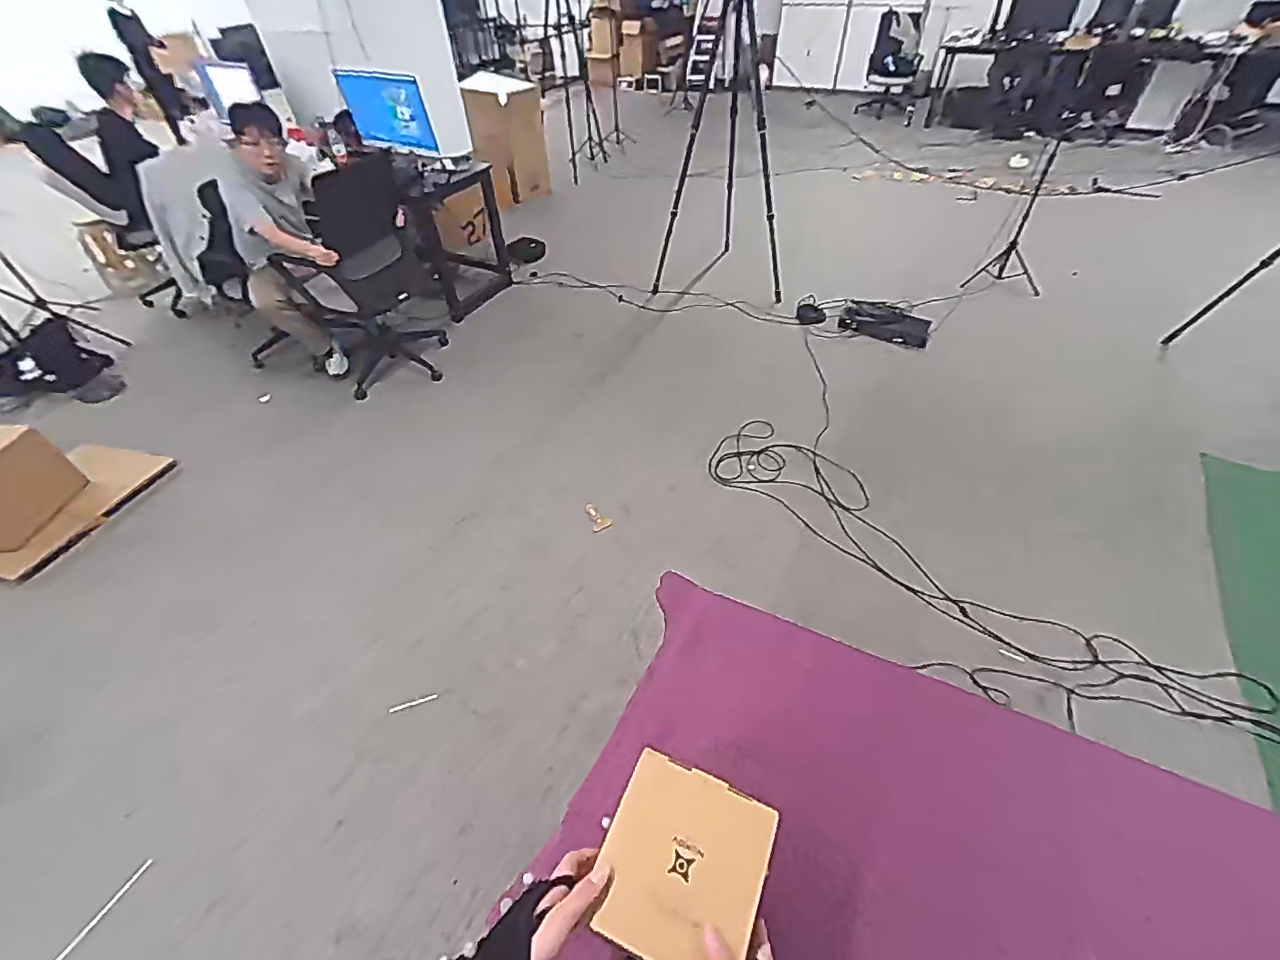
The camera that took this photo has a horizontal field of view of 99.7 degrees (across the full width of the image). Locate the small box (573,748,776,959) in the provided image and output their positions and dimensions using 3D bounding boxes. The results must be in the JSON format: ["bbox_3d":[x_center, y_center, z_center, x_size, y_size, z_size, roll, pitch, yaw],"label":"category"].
[{"bbox_3d":[0.038,0.450,0.616,0.168,0.176,0.179,19,49,16],"label":"small box"}]
